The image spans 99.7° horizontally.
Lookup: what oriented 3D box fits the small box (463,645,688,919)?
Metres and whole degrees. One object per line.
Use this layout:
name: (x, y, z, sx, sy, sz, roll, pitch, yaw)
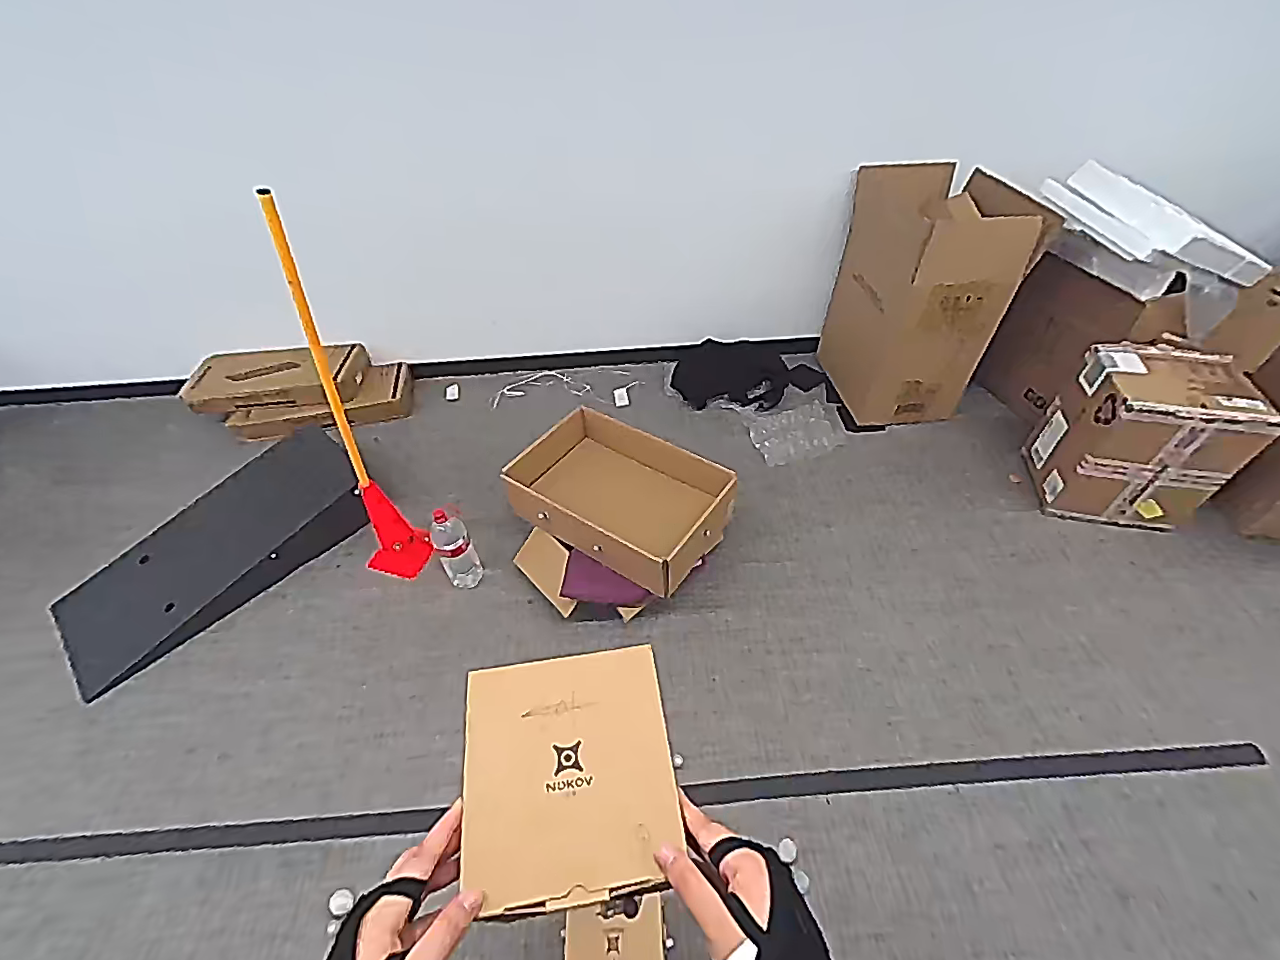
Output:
small box: (-0.057, 0.276, 0.496, 0.168, 0.176, 0.179, -7, 51, -7)
